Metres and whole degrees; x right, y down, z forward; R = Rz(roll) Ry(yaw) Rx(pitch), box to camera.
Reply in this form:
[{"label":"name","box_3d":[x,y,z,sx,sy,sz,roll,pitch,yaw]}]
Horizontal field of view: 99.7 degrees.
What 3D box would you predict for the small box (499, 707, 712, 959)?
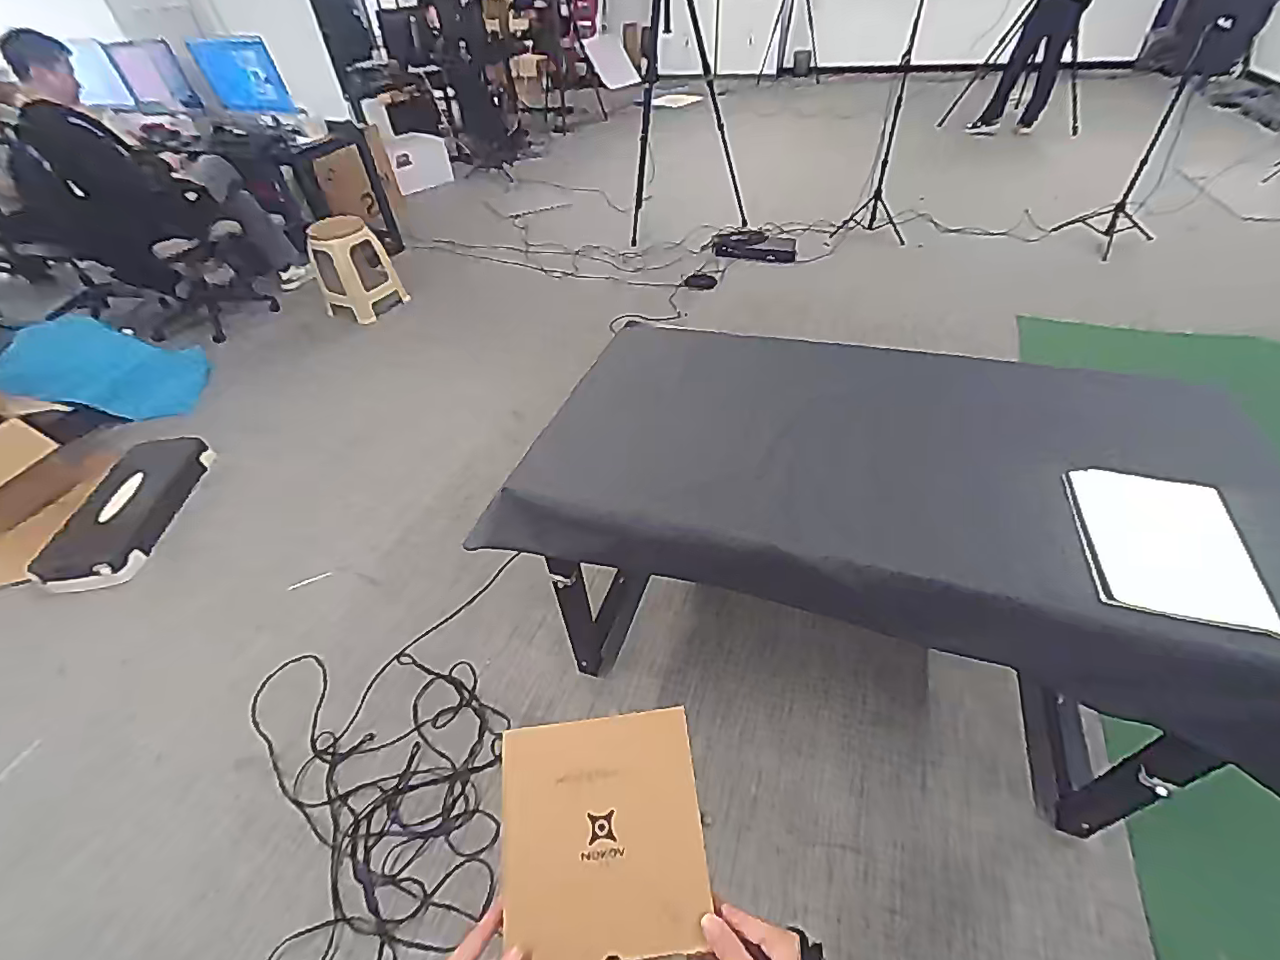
[{"label":"small box","box_3d":[-0.032,0.324,0.513,0.168,0.176,0.179,-6,62,-3]}]
